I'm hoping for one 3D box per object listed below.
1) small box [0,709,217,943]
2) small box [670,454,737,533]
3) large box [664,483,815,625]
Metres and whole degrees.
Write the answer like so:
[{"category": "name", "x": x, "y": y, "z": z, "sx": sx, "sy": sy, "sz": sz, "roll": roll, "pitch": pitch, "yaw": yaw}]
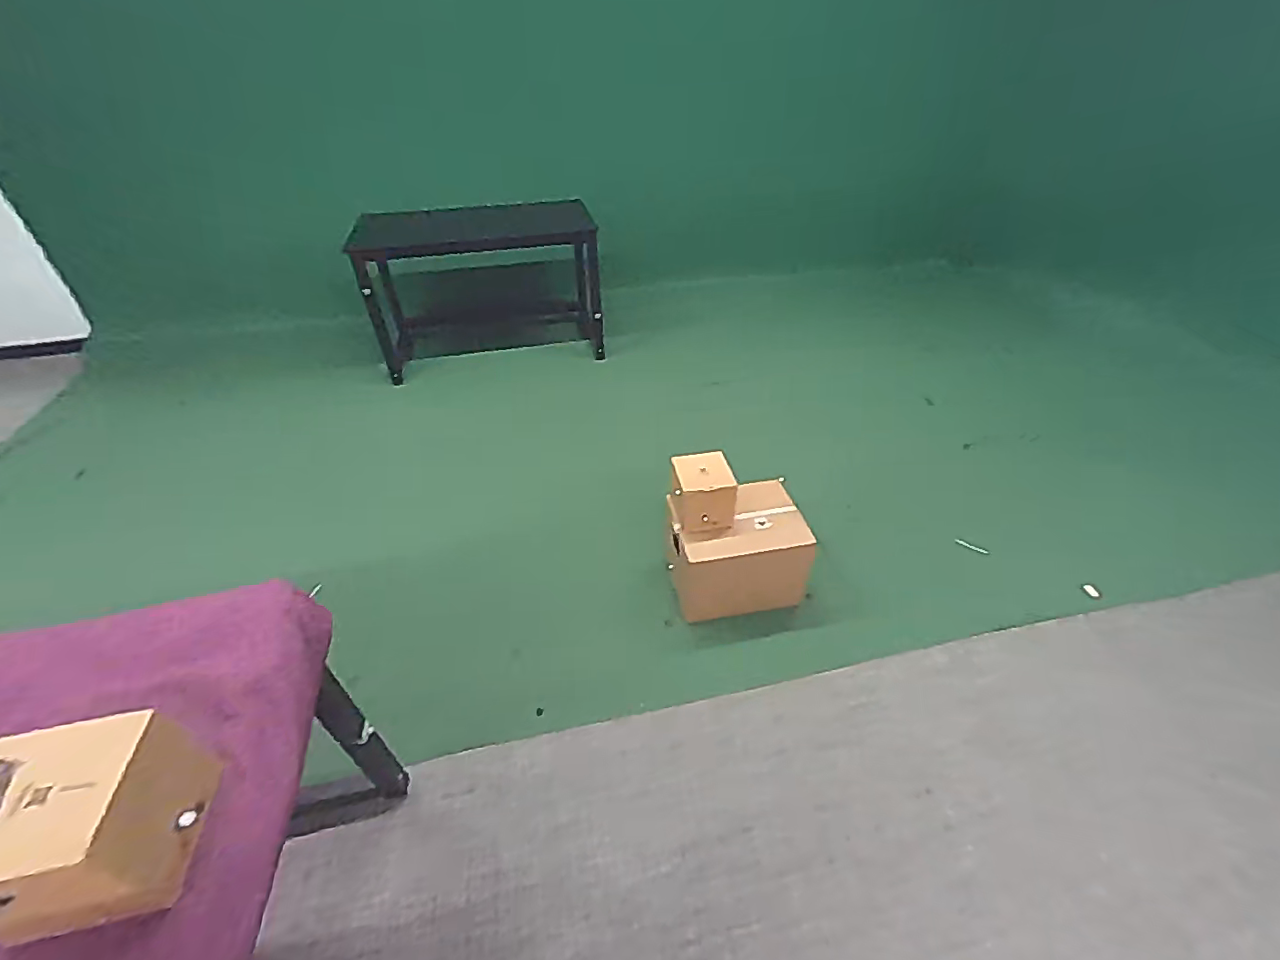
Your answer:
[{"category": "small box", "x": -0.653, "y": 0.400, "z": 0.628, "sx": 0.179, "sy": 0.176, "sz": 0.168, "roll": -9, "pitch": 41, "yaw": -9}, {"category": "small box", "x": 0.191, "y": 0.041, "z": 1.685, "sx": 0.168, "sy": 0.176, "sz": 0.179, "roll": -7, "pitch": 40, "yaw": -8}, {"category": "large box", "x": 0.310, "y": 0.246, "z": 1.816, "sx": 0.408, "sy": 0.320, "sz": 0.320, "roll": -7, "pitch": 41, "yaw": -8}]
